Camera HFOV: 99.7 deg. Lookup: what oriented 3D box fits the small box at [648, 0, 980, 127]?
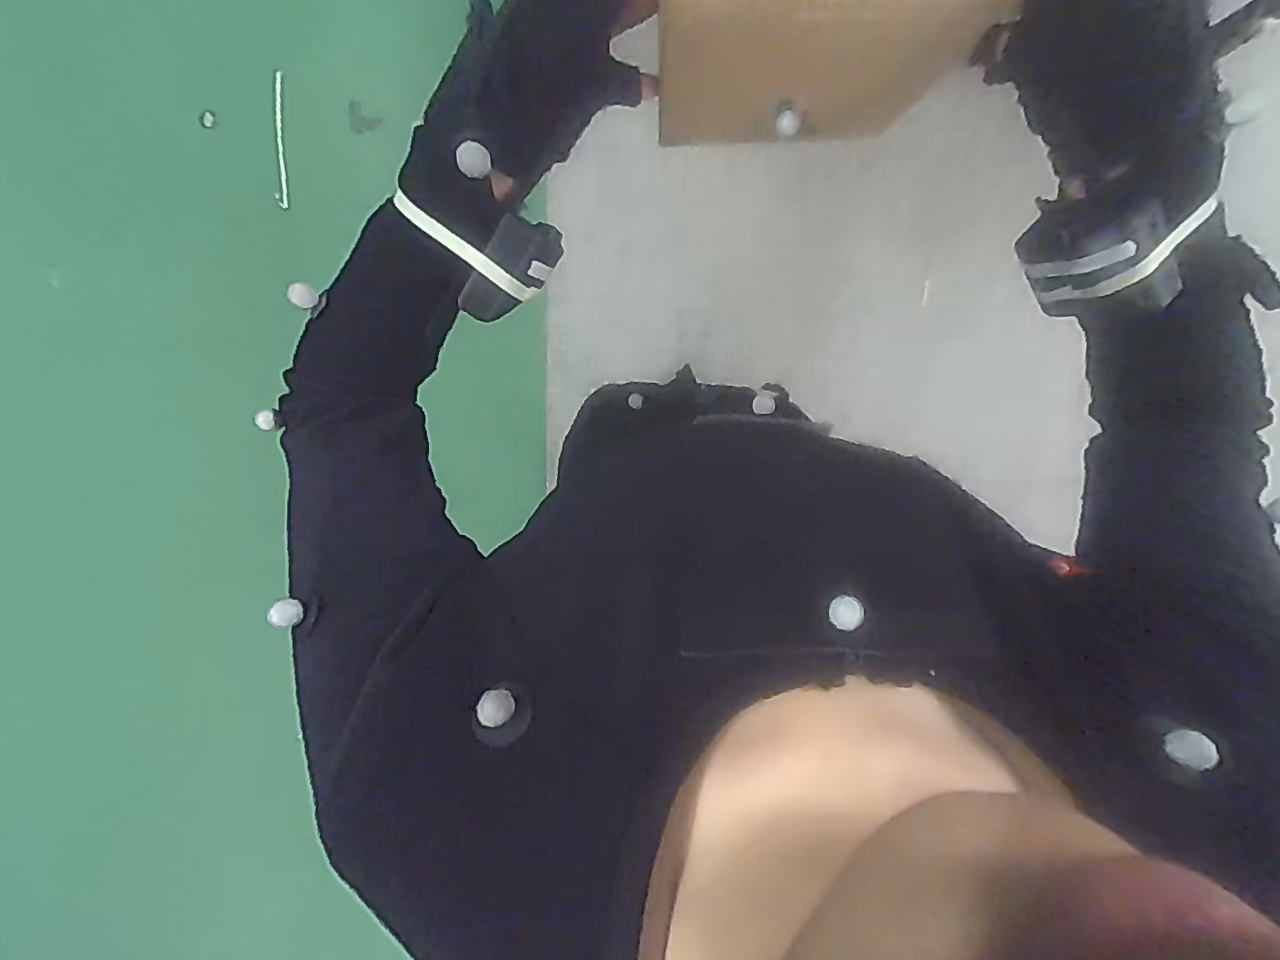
[{"bbox_3d":[0.087,-0.326,0.293,0.168,0.176,0.179,-1,100,2],"label":"small box"}]
